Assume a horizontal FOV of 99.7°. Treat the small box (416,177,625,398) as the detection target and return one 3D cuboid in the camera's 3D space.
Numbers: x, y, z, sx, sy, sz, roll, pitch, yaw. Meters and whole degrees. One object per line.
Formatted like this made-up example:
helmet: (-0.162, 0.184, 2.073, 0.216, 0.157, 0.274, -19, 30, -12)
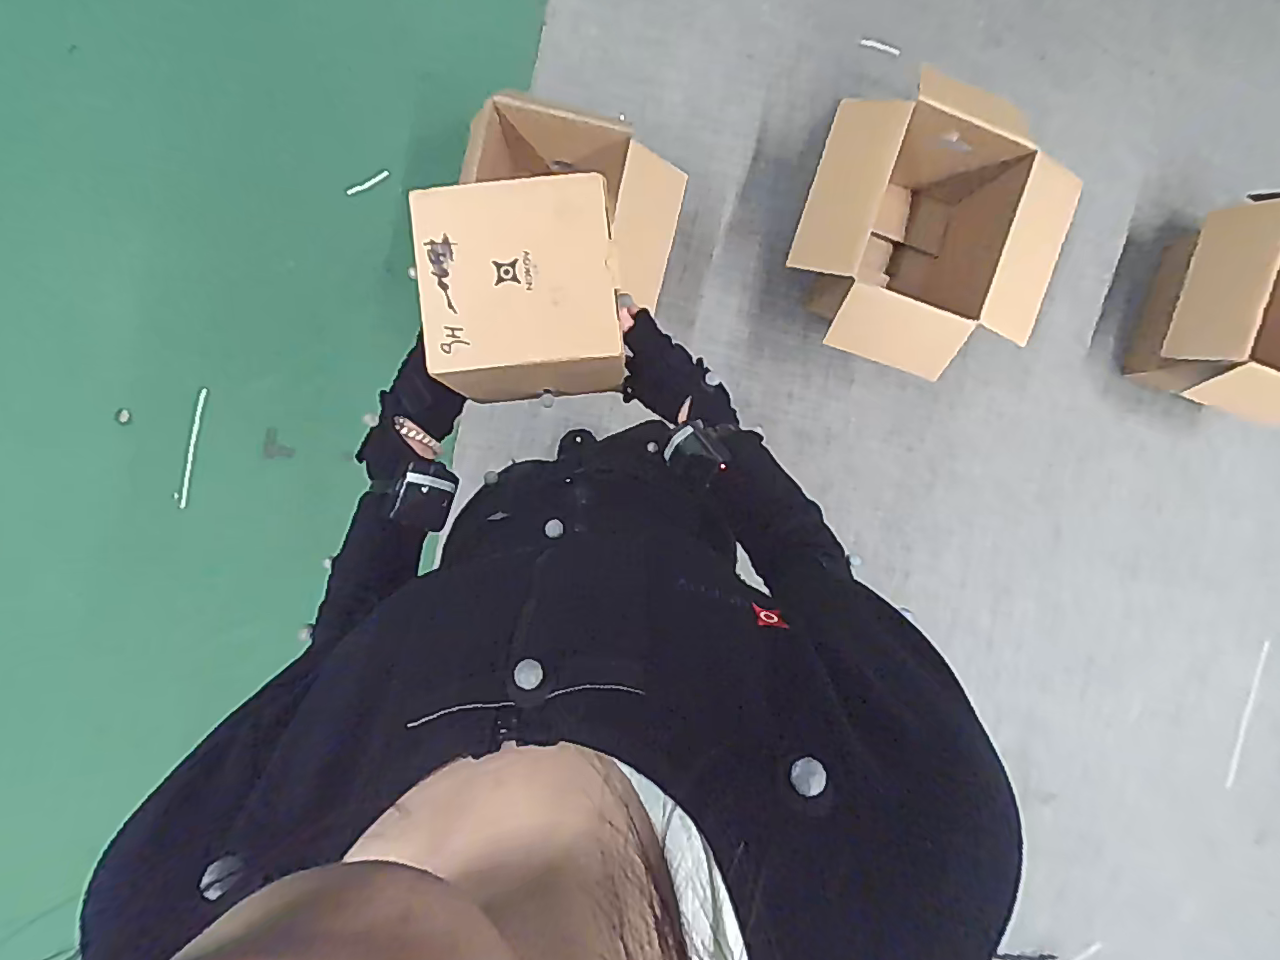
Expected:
small box: (-0.111, -0.185, 0.563, 0.179, 0.176, 0.168, -6, 88, -3)
